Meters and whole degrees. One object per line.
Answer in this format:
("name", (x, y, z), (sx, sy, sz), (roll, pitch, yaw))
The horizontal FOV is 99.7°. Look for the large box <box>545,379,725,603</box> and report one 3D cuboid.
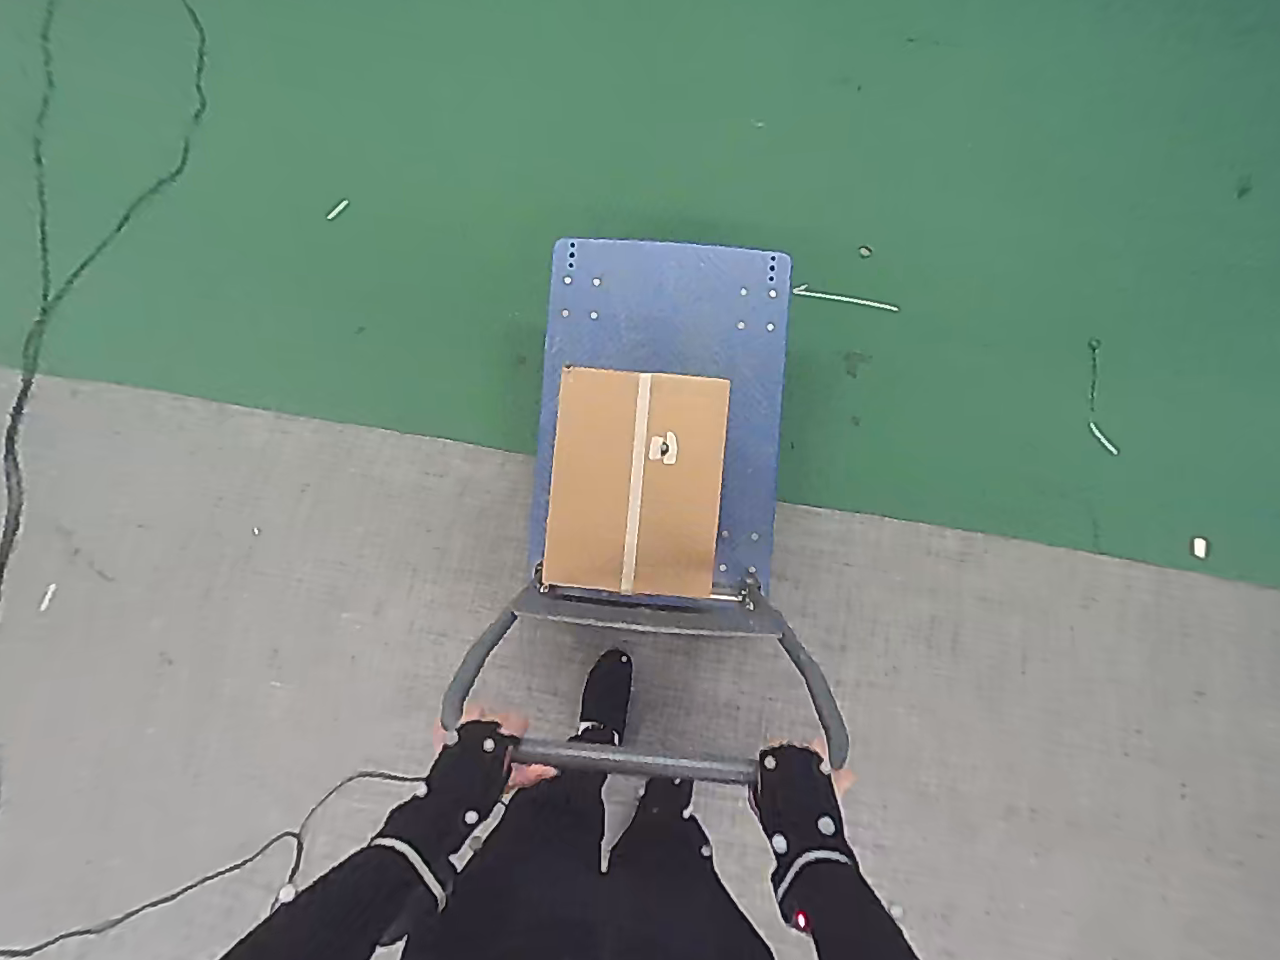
("large box", (-0.004, 0.024, 1.148), (0.320, 0.320, 0.408), (5, 89, 1))
